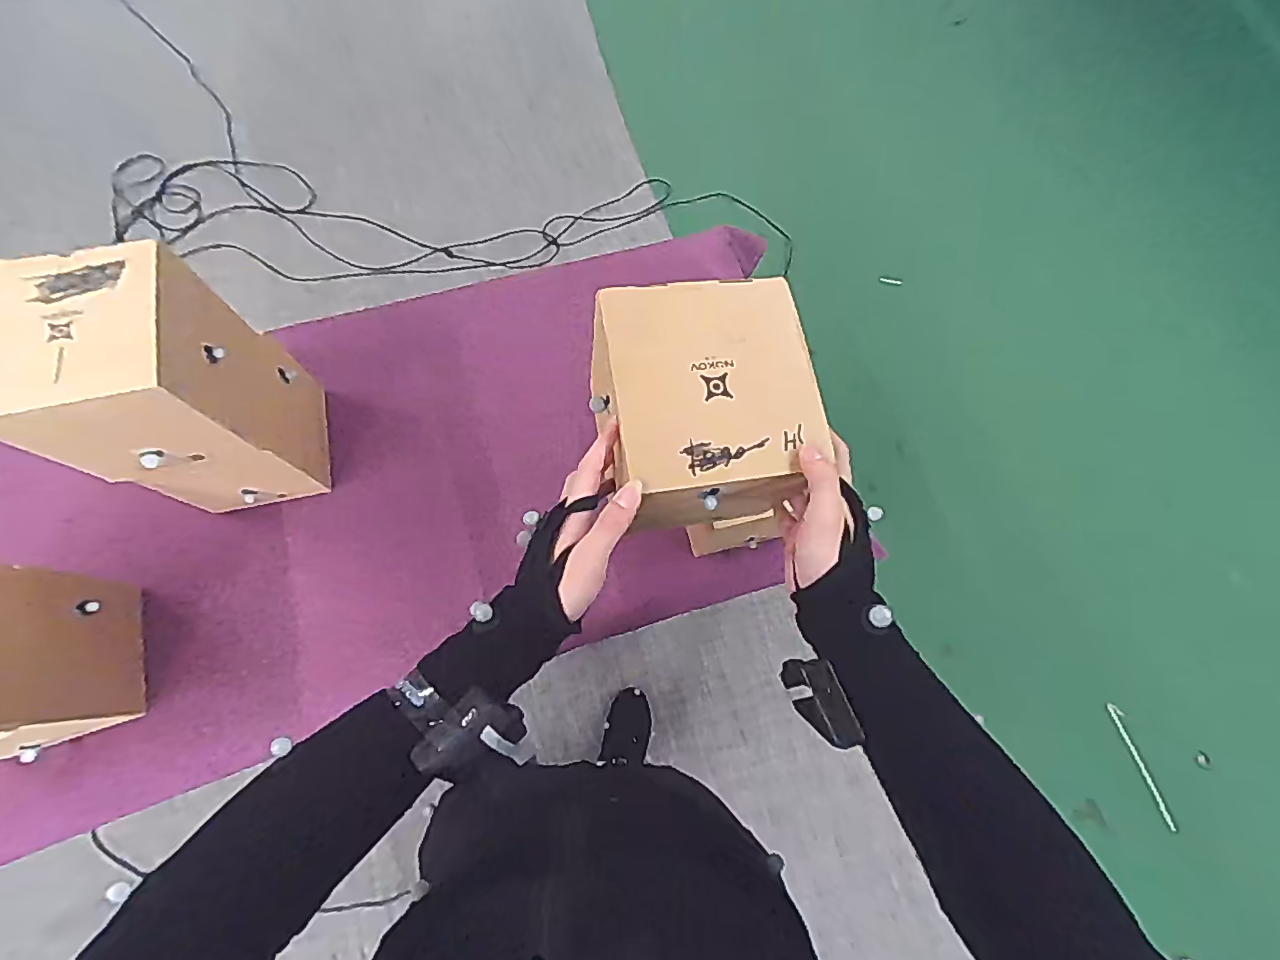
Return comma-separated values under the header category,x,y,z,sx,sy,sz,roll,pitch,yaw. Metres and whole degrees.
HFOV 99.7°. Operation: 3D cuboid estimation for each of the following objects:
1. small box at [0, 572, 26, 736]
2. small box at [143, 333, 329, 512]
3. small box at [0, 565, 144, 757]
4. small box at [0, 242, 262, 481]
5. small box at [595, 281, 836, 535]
category,x,y,z,sx,sy,sz,roll,pitch,yaw
small box,-0.715,0.170,0.476,0.168,0.176,0.179,-16,71,-8
small box,-0.553,-0.072,0.743,0.168,0.176,0.179,-11,73,-8
small box,-0.731,0.218,0.630,0.168,0.176,0.179,-16,72,-9
small box,-0.545,-0.119,0.585,0.168,0.176,0.179,-13,73,-8
small box,0.051,-0.058,0.505,0.168,0.176,0.179,-7,74,-9
